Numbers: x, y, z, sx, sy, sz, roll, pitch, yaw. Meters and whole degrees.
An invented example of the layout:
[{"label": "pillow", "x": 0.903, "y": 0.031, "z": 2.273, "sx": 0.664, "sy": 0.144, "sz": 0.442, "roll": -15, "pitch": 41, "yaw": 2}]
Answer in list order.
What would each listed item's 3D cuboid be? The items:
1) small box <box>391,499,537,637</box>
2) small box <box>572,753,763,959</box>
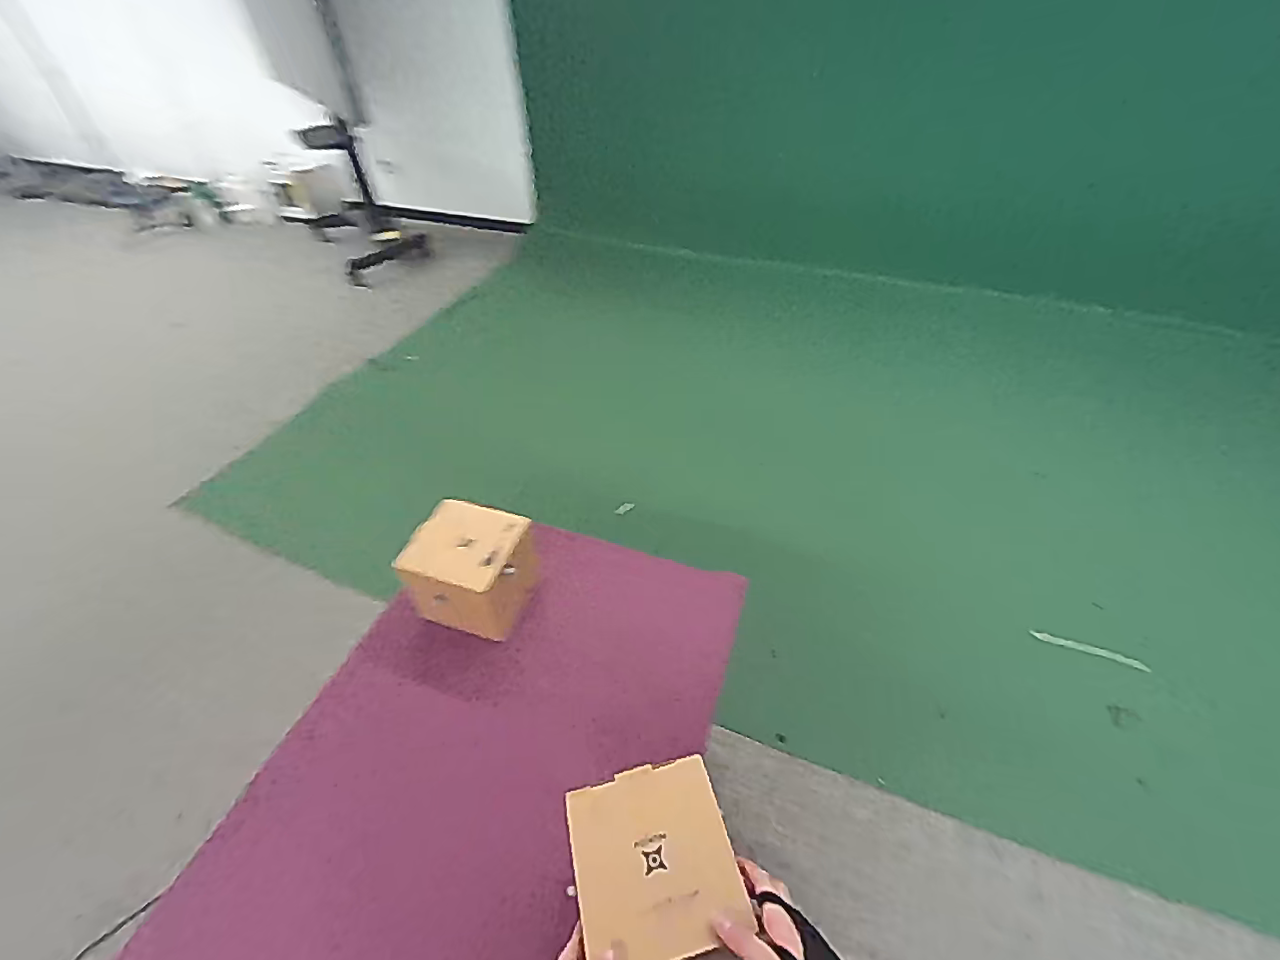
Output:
[{"label": "small box", "x": -0.310, "y": 0.164, "z": 0.991, "sx": 0.179, "sy": 0.176, "sz": 0.168, "roll": 12, "pitch": 47, "yaw": 14}, {"label": "small box", "x": 0.023, "y": 0.447, "z": 0.605, "sx": 0.168, "sy": 0.176, "sz": 0.179, "roll": -11, "pitch": 39, "yaw": -7}]
